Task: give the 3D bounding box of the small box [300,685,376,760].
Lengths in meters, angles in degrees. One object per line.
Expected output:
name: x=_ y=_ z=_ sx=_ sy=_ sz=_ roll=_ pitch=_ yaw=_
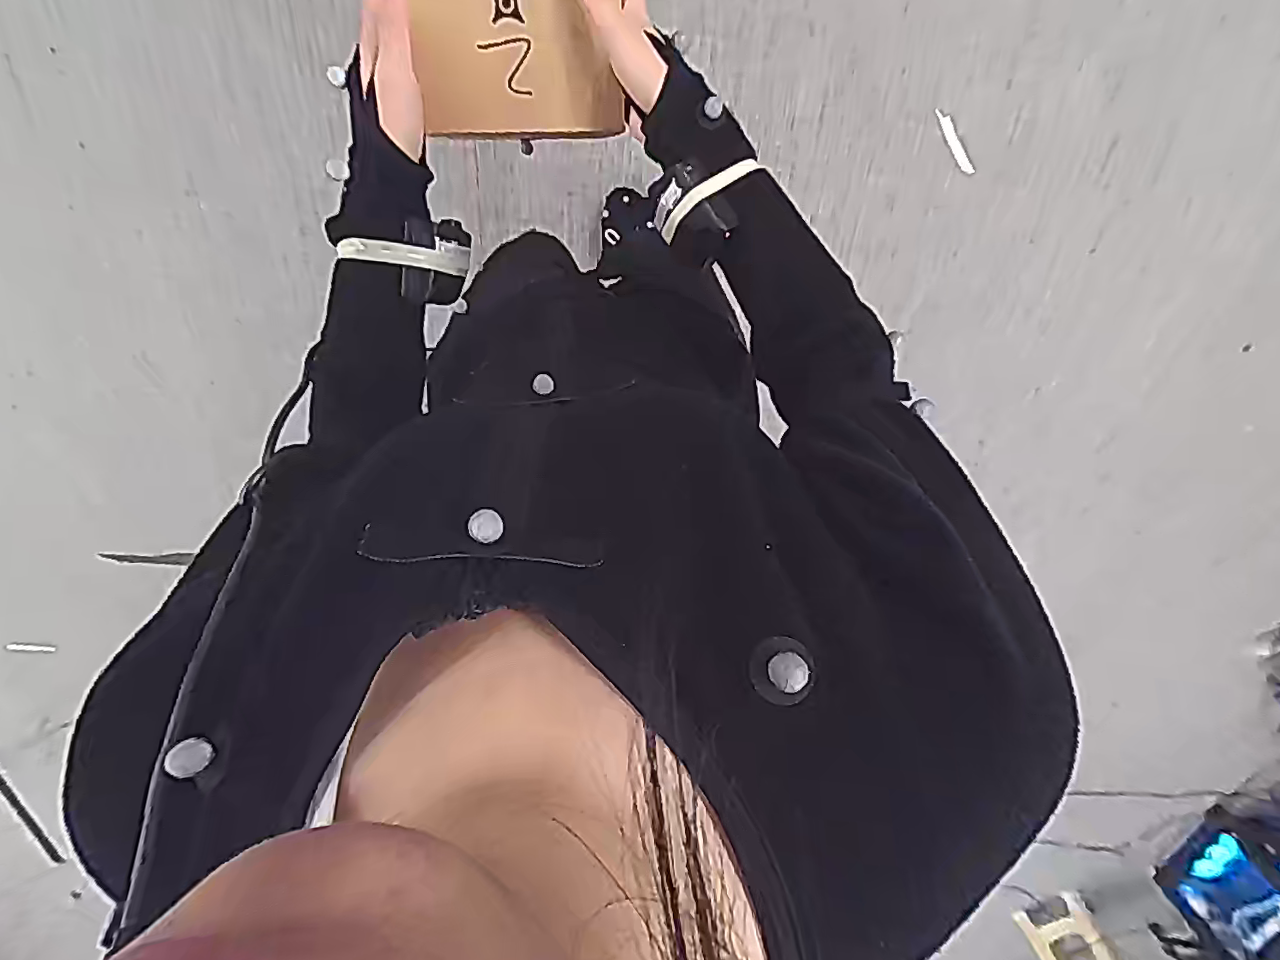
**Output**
small box: x=-1.080 y=0.865 z=1.940 sx=0.179 sy=0.176 sz=0.168 roll=18 pitch=115 yaw=-13
